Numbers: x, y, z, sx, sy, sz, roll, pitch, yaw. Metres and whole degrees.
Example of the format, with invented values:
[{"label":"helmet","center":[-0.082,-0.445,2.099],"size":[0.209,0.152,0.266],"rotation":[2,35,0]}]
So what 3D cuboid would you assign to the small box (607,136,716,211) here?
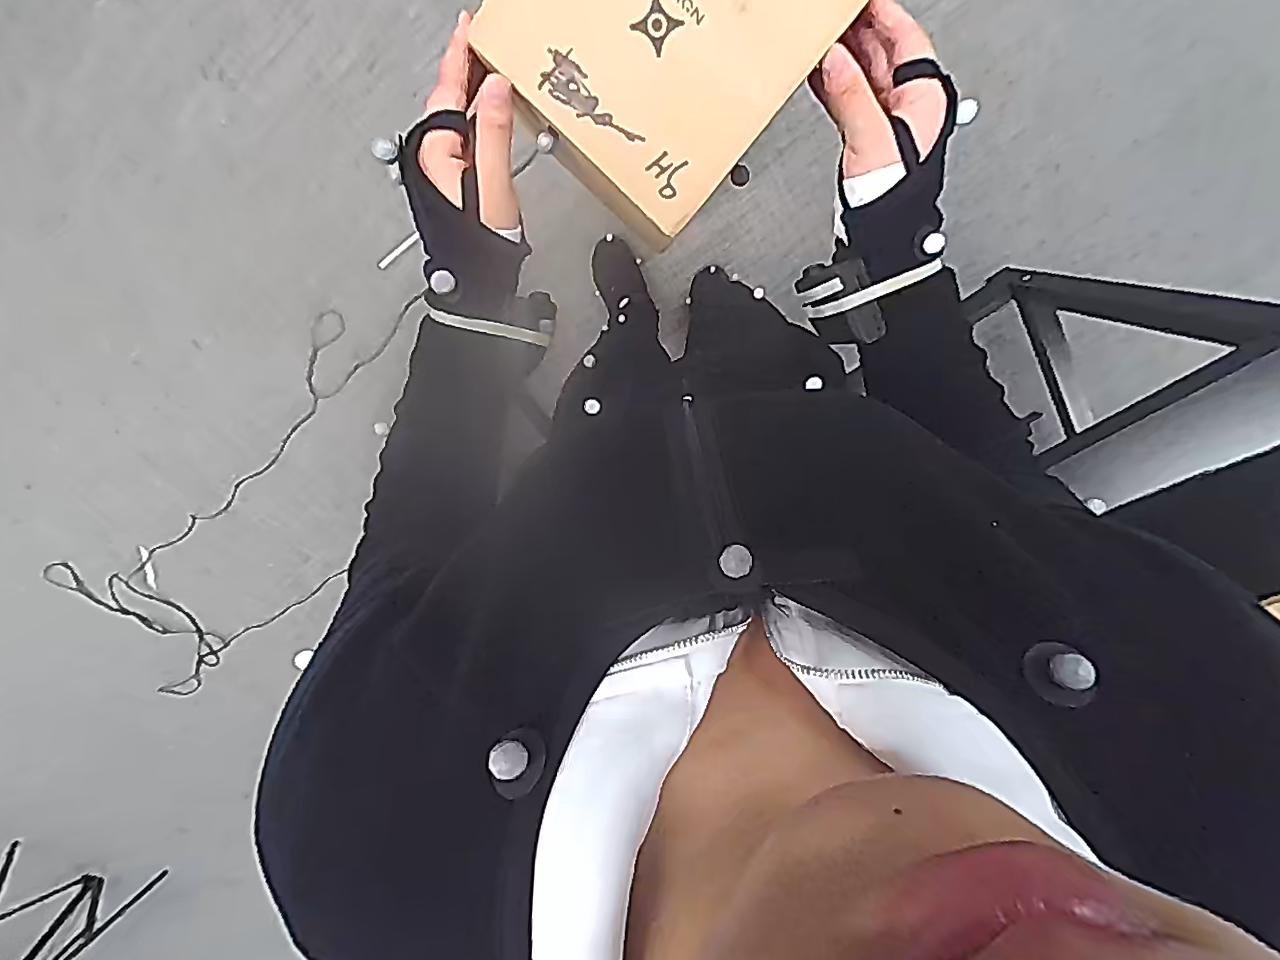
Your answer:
[{"label":"small box","center":[0.045,-0.707,1.159],"size":[0.179,0.176,0.168],"rotation":[-36,111,15]}]
